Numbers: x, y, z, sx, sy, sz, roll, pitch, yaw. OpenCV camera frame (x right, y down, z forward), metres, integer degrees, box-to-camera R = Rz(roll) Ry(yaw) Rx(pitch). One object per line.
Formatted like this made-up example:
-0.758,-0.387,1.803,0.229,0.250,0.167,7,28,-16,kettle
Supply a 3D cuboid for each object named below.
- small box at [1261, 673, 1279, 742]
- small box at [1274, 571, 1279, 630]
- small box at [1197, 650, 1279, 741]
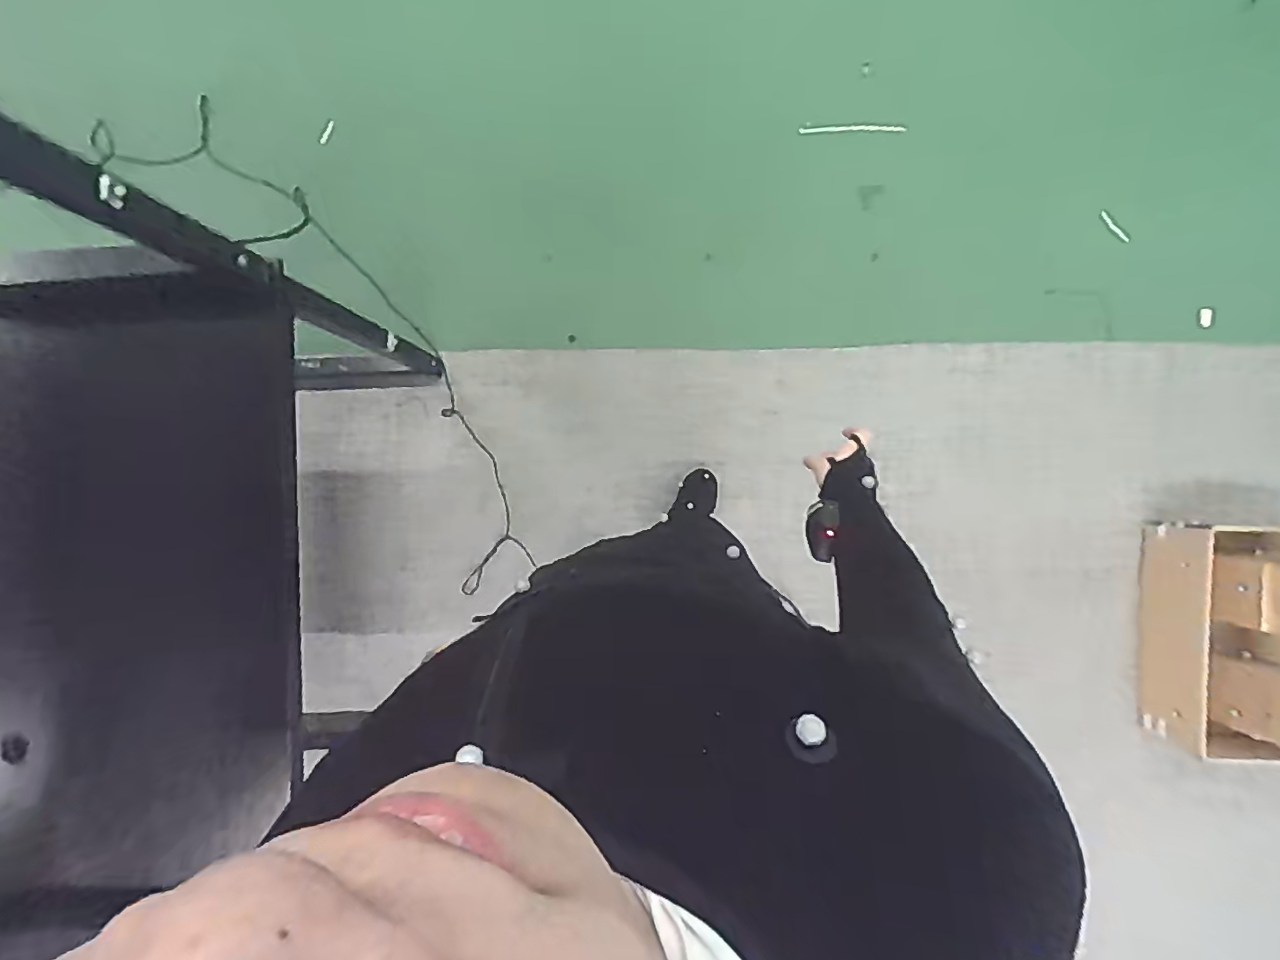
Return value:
1.640,0.567,1.270,0.179,0.176,0.168,5,91,3,small box
1.664,0.294,1.270,0.179,0.176,0.168,-2,91,2,small box
1.644,0.571,1.433,0.168,0.176,0.179,5,89,3,small box
